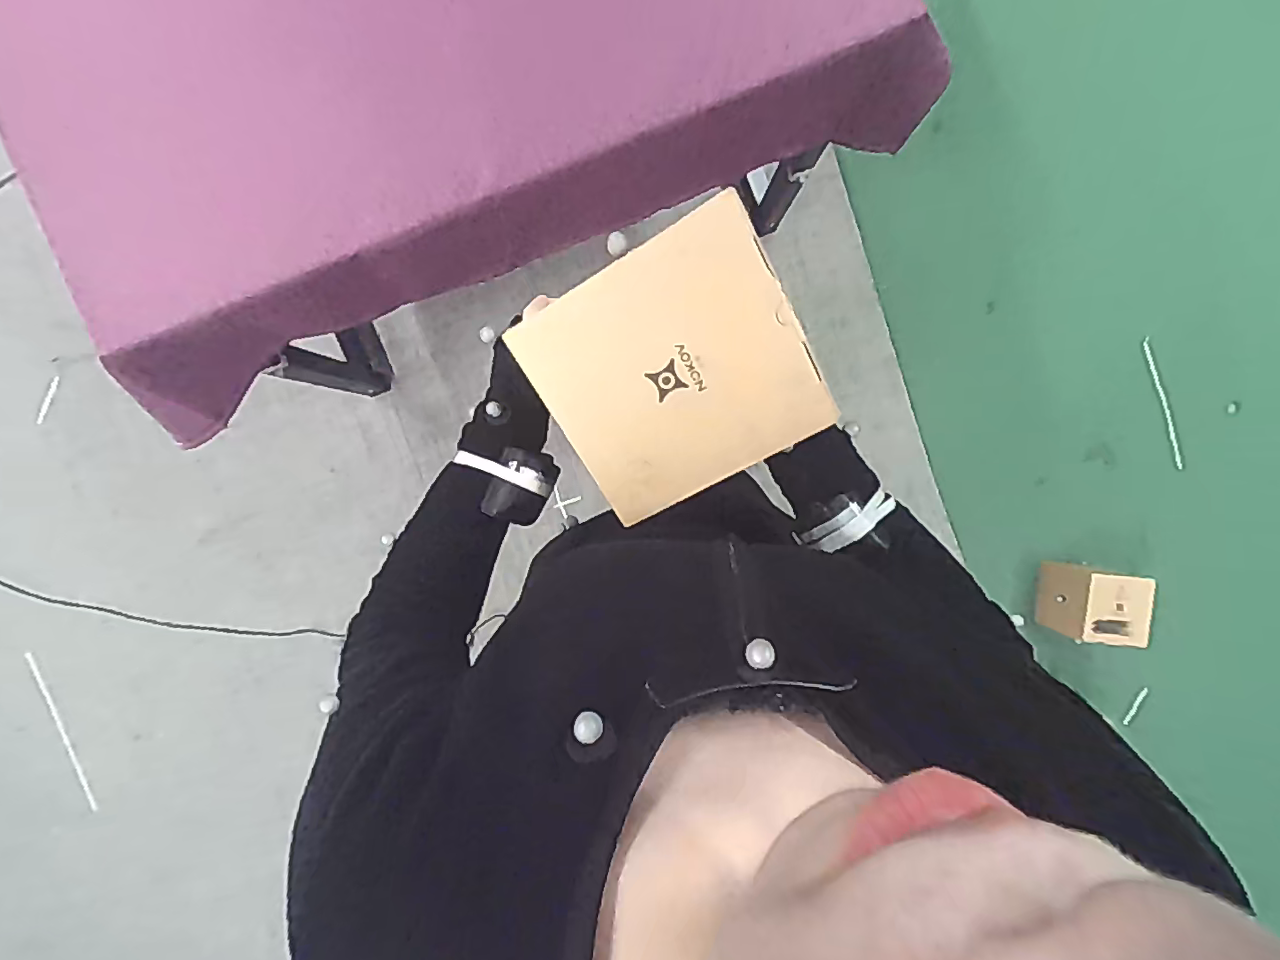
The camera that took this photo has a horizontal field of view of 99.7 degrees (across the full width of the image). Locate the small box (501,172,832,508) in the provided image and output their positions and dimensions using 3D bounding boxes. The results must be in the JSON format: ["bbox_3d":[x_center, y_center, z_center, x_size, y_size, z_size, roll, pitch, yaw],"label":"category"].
[{"bbox_3d":[0.024,-0.110,0.440,0.179,0.176,0.168,-28,107,13],"label":"small box"}]
